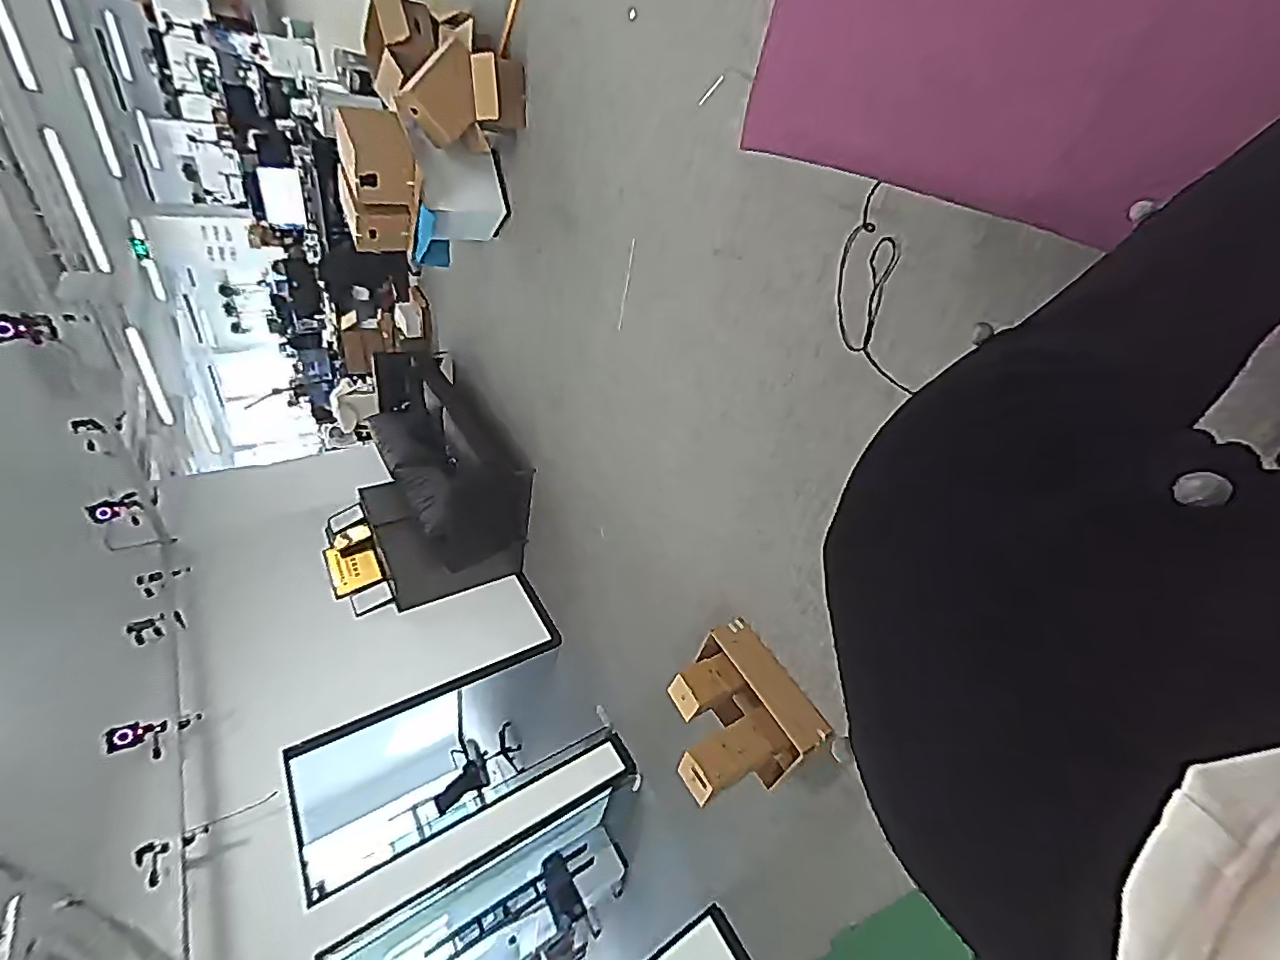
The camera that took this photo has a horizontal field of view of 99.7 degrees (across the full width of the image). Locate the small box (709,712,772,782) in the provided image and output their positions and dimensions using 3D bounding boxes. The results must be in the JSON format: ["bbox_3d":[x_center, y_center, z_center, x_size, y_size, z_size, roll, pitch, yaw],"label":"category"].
[{"bbox_3d":[0.421,1.109,2.255,0.168,0.176,0.179,46,139,36],"label":"small box"}]

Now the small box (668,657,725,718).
[{"bbox_3d":[0.256,0.930,2.431,0.168,0.176,0.179,52,140,32],"label":"small box"}]
